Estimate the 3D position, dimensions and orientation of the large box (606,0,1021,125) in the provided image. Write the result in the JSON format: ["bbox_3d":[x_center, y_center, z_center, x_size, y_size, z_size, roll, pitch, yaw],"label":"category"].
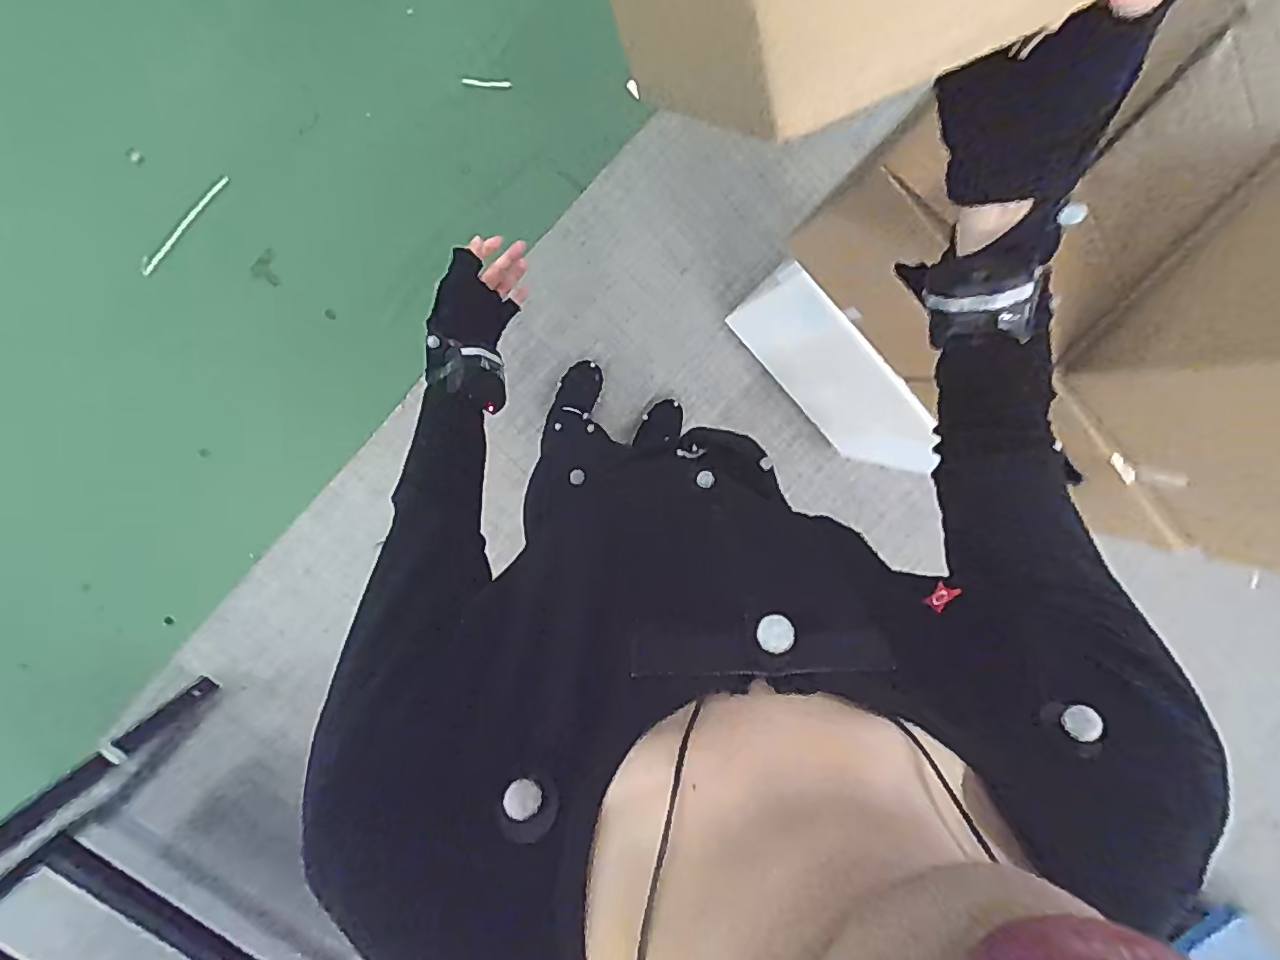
[{"bbox_3d":[0.090,-0.443,0.225,0.320,0.320,0.408,-24,128,4],"label":"large box"}]
